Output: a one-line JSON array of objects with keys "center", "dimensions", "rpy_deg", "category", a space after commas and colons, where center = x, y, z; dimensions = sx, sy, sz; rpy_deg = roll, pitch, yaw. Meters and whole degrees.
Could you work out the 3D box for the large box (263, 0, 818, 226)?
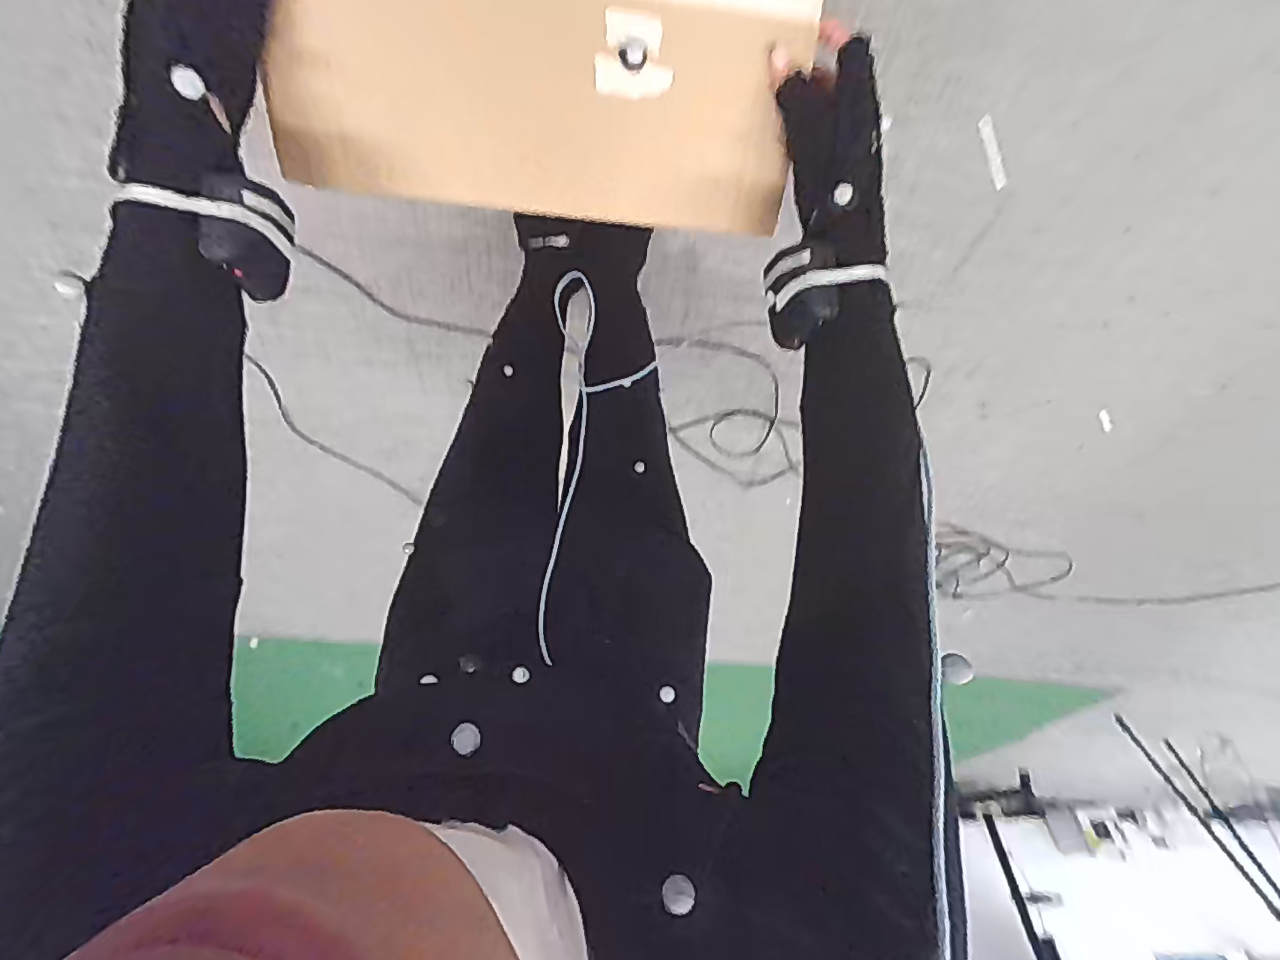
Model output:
[{"center": [-0.078, -0.438, 0.509], "dimensions": [0.408, 0.320, 0.320], "rpy_deg": [3, 120, -8], "category": "large box"}]
